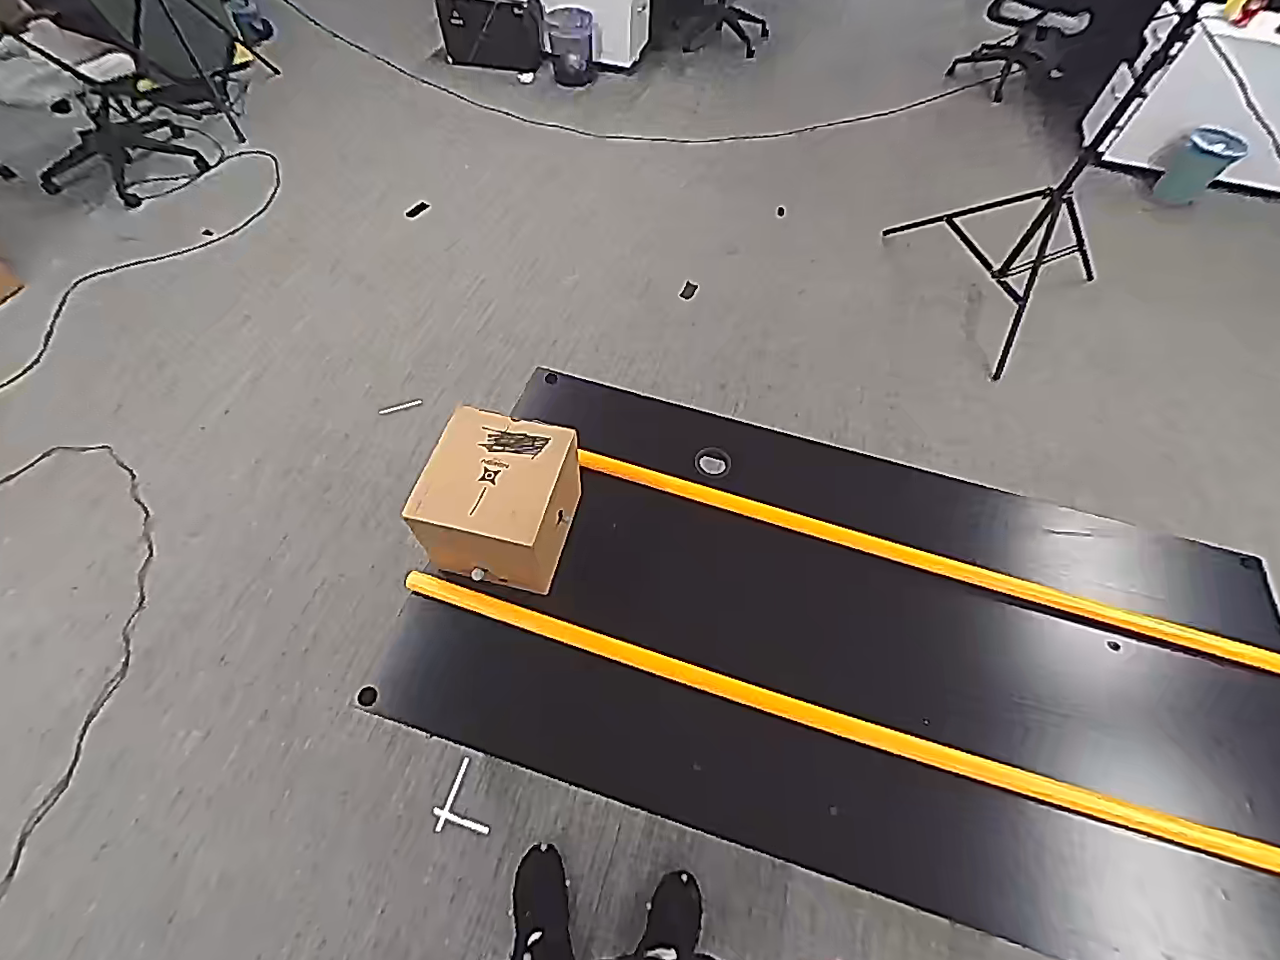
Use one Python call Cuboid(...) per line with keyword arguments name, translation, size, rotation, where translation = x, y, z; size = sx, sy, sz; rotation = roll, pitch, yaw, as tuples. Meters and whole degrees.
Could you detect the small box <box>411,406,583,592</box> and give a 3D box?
Cuboid(name="small box", translation=(-0.180, 0.031, 0.745), size=(0.168, 0.176, 0.179), rotation=(13, 59, 5))
